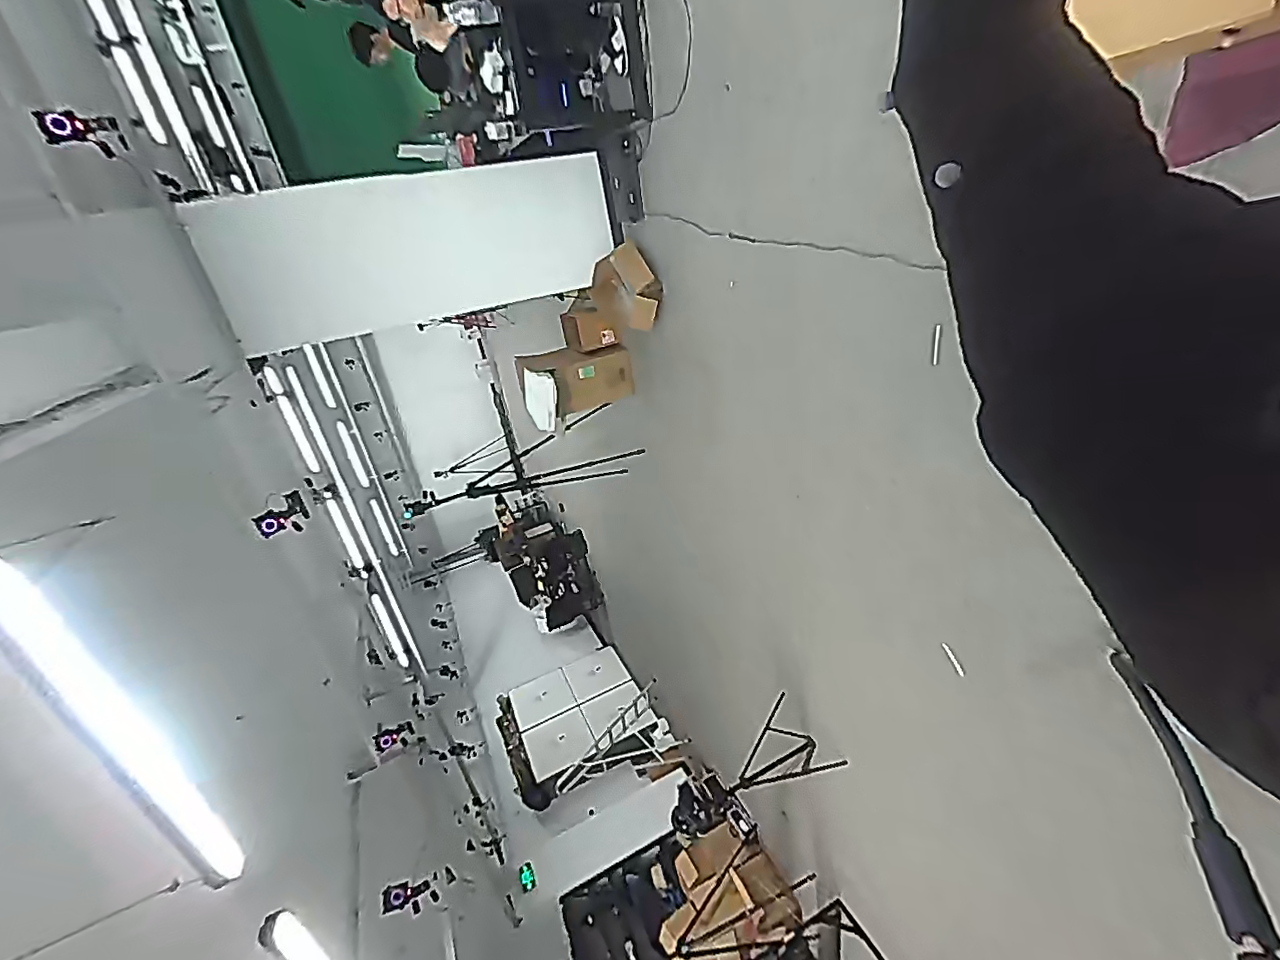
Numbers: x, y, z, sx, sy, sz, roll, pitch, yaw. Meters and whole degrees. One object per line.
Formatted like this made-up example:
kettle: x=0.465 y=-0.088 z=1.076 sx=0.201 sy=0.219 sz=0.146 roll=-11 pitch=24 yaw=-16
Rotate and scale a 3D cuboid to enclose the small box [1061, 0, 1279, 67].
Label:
small box: x=0.569 y=-0.531 z=0.529 sx=0.179 sy=0.176 sz=0.168 roll=36 pitch=141 yaw=58
